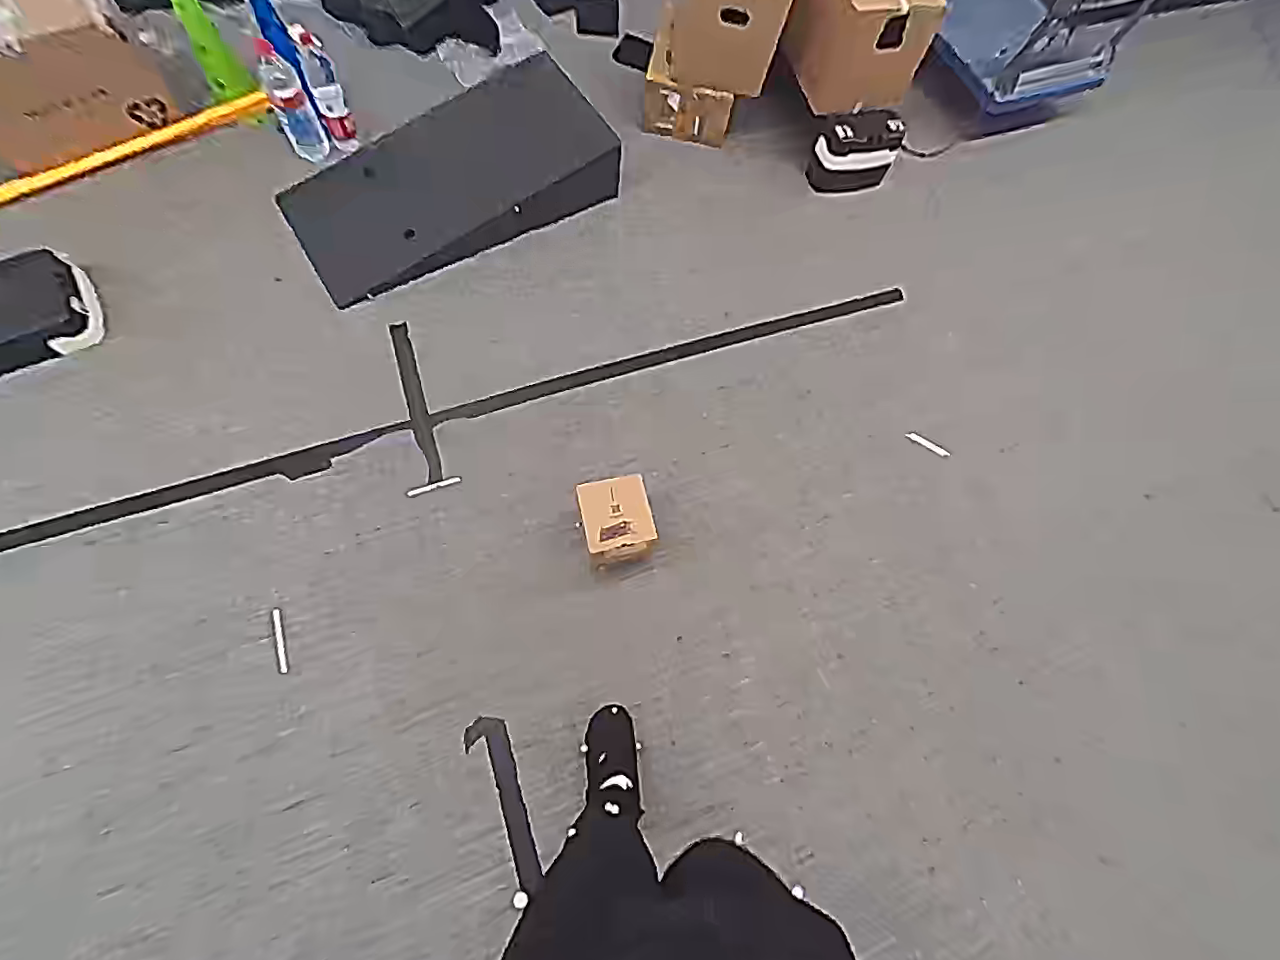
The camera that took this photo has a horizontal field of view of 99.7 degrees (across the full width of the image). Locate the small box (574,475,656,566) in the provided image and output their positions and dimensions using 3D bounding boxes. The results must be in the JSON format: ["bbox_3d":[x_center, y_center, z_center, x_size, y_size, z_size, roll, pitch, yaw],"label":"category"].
[{"bbox_3d":[-0.067,0.109,1.352,0.168,0.176,0.179,-11,70,-11],"label":"small box"}]
